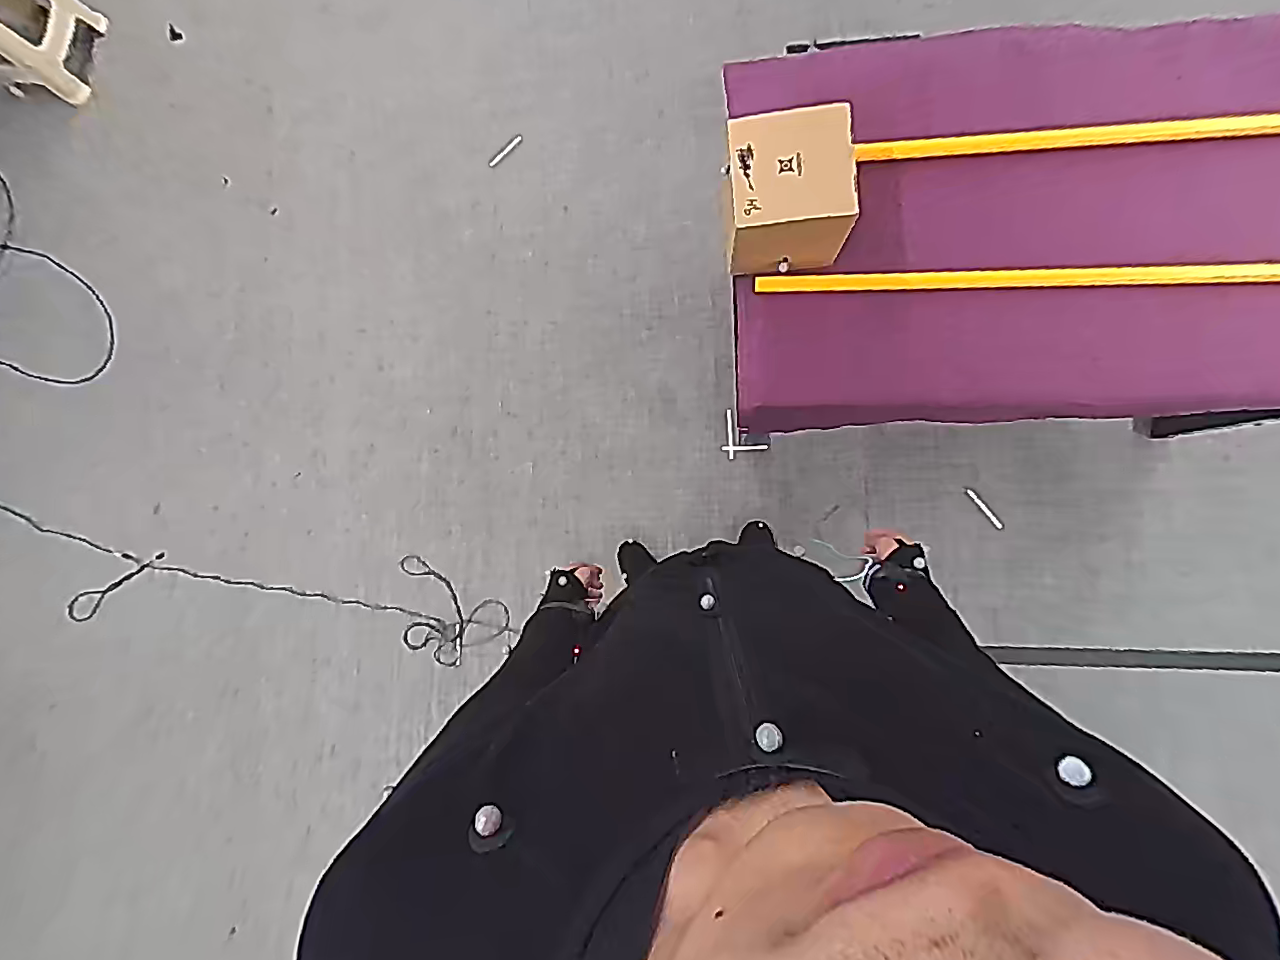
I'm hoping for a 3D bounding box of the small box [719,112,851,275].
[{"bbox_3d":[0.222,-0.447,0.868,0.179,0.176,0.168,-3,87,6],"label":"small box"}]
